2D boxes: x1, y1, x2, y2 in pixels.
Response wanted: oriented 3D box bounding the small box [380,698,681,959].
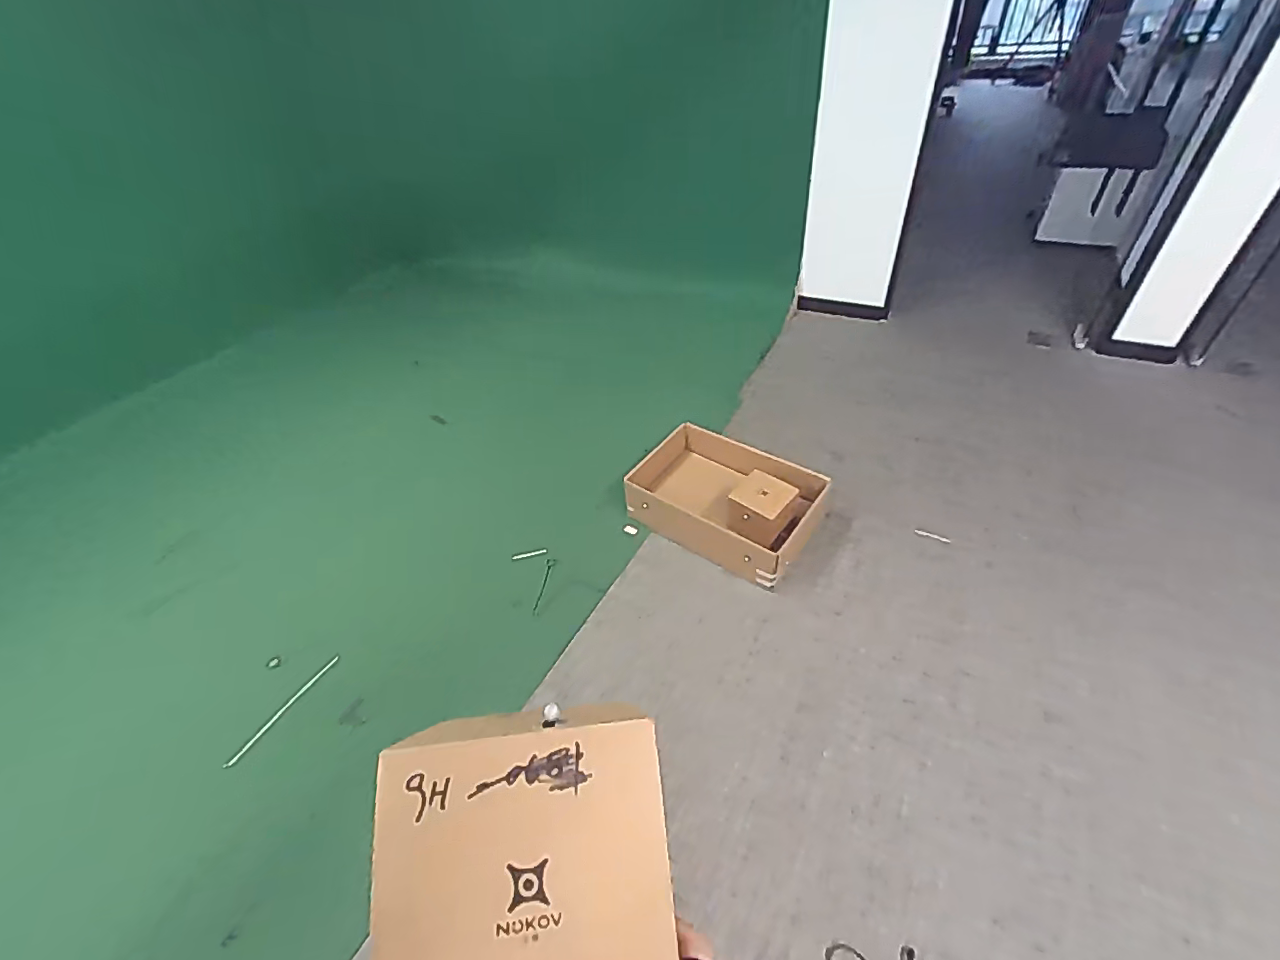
[{"bbox_3d":[-0.071,0.261,0.382,0.168,0.176,0.179,-2,73,-10],"label":"small box"}]
